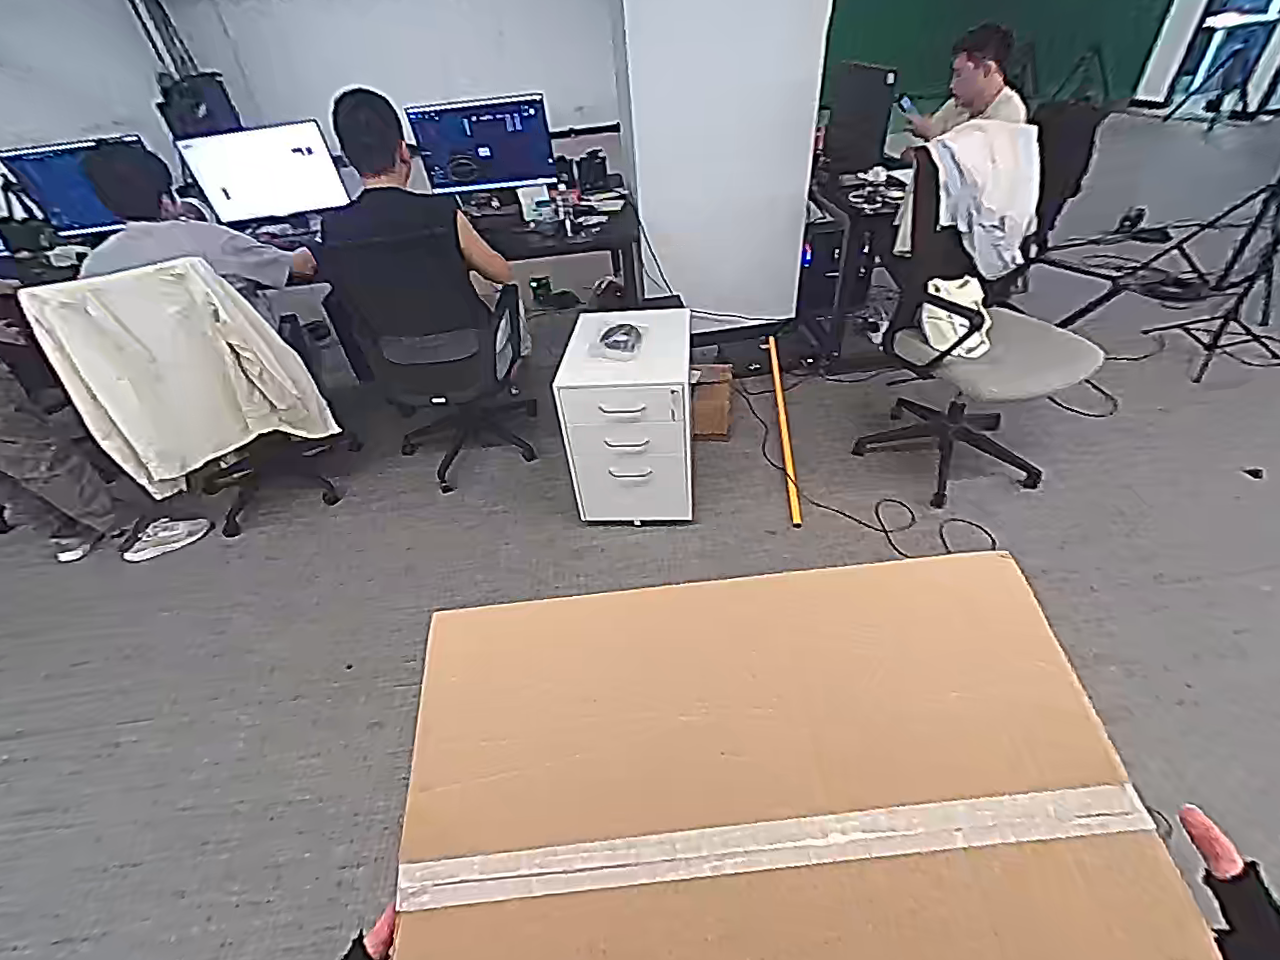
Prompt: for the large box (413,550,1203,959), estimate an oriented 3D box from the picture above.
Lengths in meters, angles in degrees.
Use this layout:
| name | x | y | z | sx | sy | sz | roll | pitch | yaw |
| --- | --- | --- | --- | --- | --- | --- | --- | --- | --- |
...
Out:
| name | x | y | z | sx | sy | sz | roll | pitch | yaw |
| --- | --- | --- | --- | --- | --- | --- | --- | --- | --- |
| large box | 0.082 | 0.284 | 0.429 | 0.408 | 0.320 | 0.320 | -7 | 57 | 1 |
